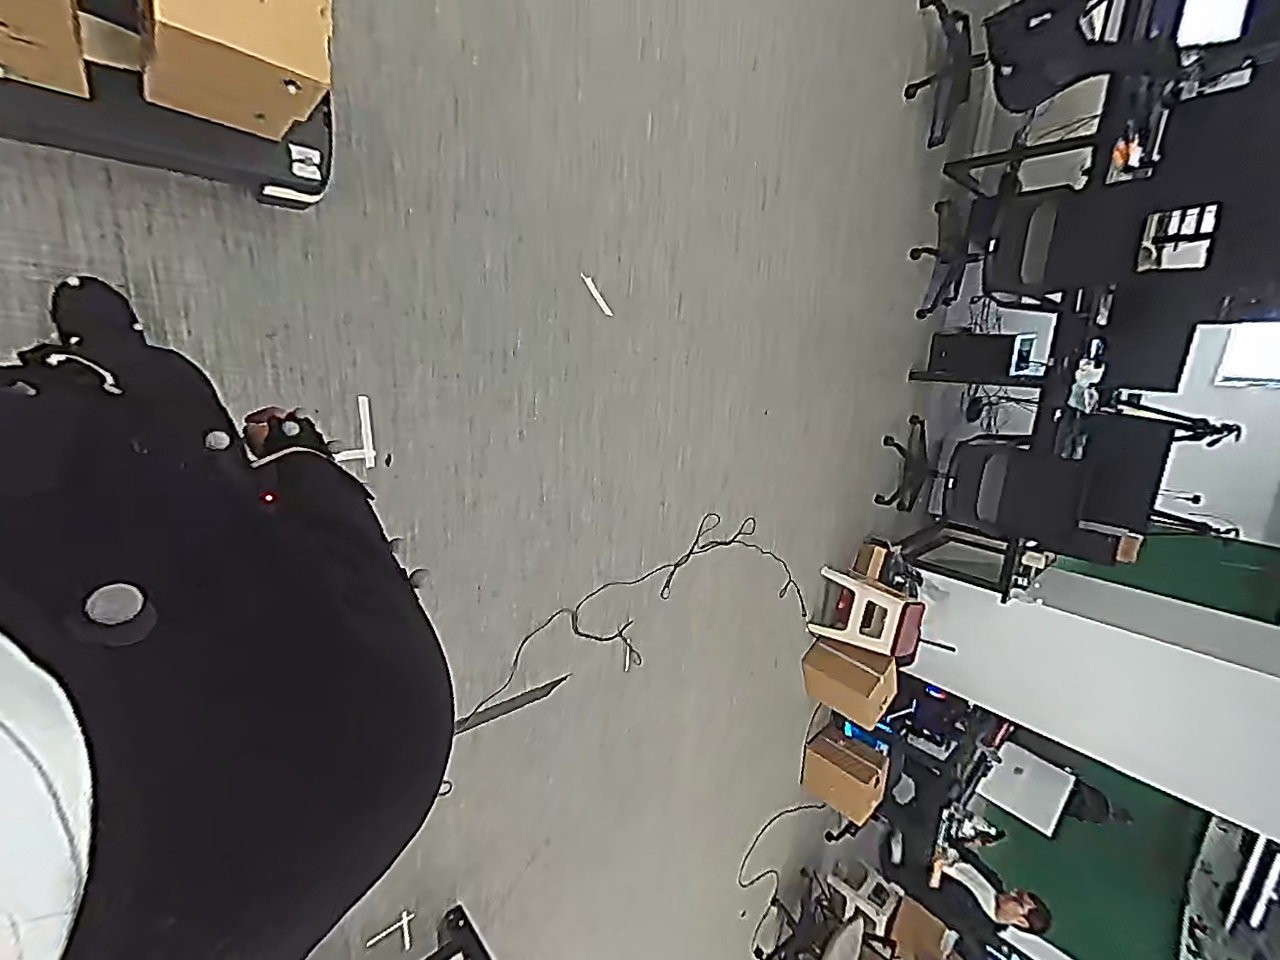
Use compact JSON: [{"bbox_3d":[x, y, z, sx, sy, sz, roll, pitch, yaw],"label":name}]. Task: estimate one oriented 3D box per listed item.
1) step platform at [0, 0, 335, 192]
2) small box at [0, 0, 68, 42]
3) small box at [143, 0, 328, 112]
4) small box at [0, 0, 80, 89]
[{"bbox_3d":[-0.856,-0.678,0.821,0.684,0.204,0.286,-9,107,-41],"label":"step platform"},{"bbox_3d":[-0.691,-0.587,0.528,0.168,0.176,0.179,-7,107,-42],"label":"small box"},{"bbox_3d":[-0.518,-0.606,0.690,0.179,0.176,0.168,-5,106,-43],"label":"small box"},{"bbox_3d":[-0.801,-0.617,0.647,0.168,0.176,0.179,-7,106,-42],"label":"small box"}]
